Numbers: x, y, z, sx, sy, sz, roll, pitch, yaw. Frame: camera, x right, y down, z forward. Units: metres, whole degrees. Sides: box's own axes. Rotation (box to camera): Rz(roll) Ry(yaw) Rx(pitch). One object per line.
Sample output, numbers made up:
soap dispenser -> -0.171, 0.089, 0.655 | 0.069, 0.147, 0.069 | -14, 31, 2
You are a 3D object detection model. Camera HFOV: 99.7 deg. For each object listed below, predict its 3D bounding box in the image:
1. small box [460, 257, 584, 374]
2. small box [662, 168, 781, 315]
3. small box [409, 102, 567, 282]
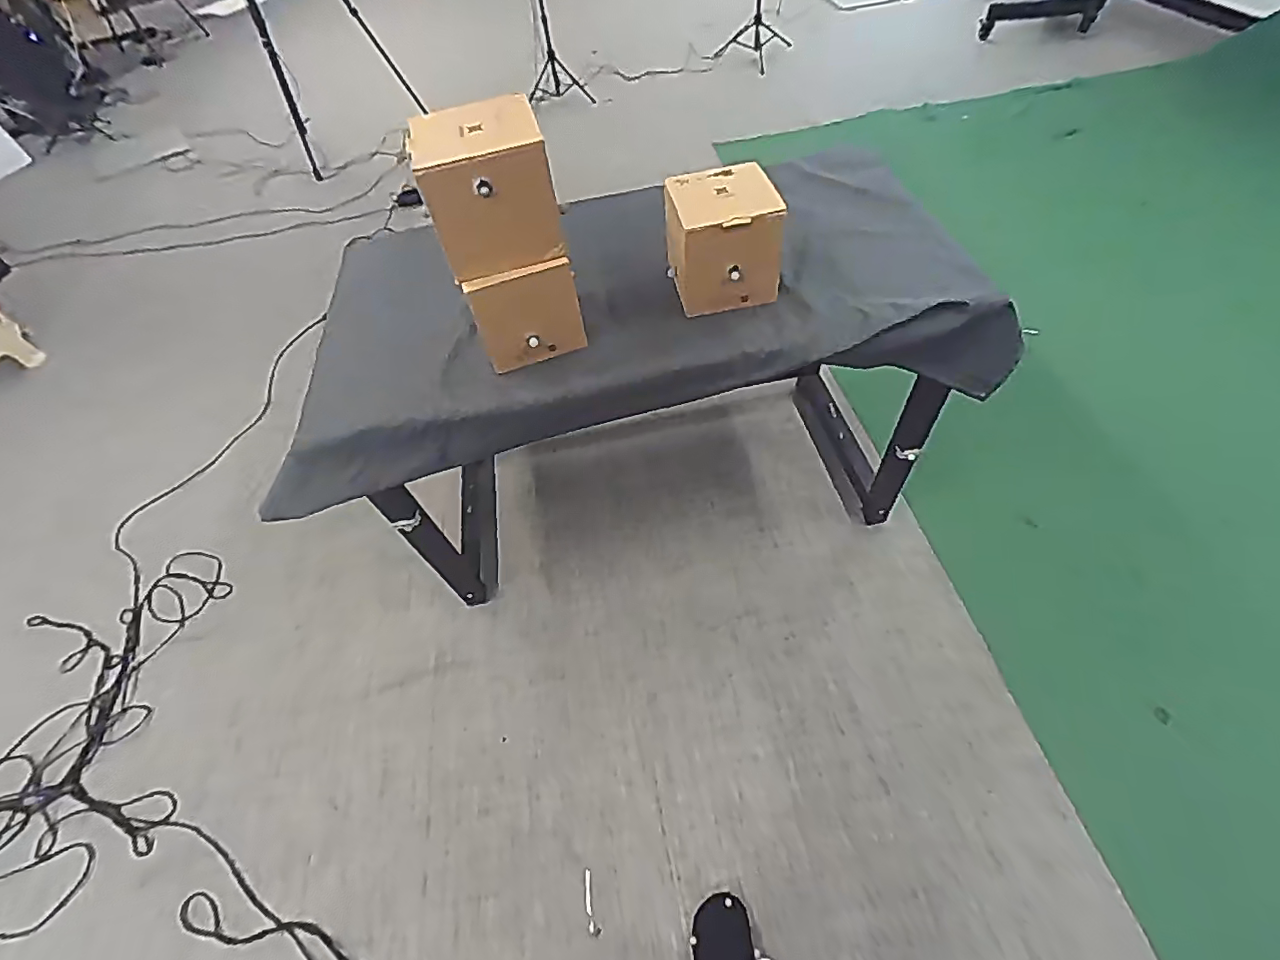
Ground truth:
small box -> -0.205, -0.312, 0.921 | 0.168, 0.176, 0.179 | -19, 55, -7
small box -> 0.139, -0.411, 0.954 | 0.168, 0.176, 0.179 | -11, 54, -1
small box -> -0.220, -0.420, 0.800 | 0.179, 0.176, 0.168 | -16, 55, -6
